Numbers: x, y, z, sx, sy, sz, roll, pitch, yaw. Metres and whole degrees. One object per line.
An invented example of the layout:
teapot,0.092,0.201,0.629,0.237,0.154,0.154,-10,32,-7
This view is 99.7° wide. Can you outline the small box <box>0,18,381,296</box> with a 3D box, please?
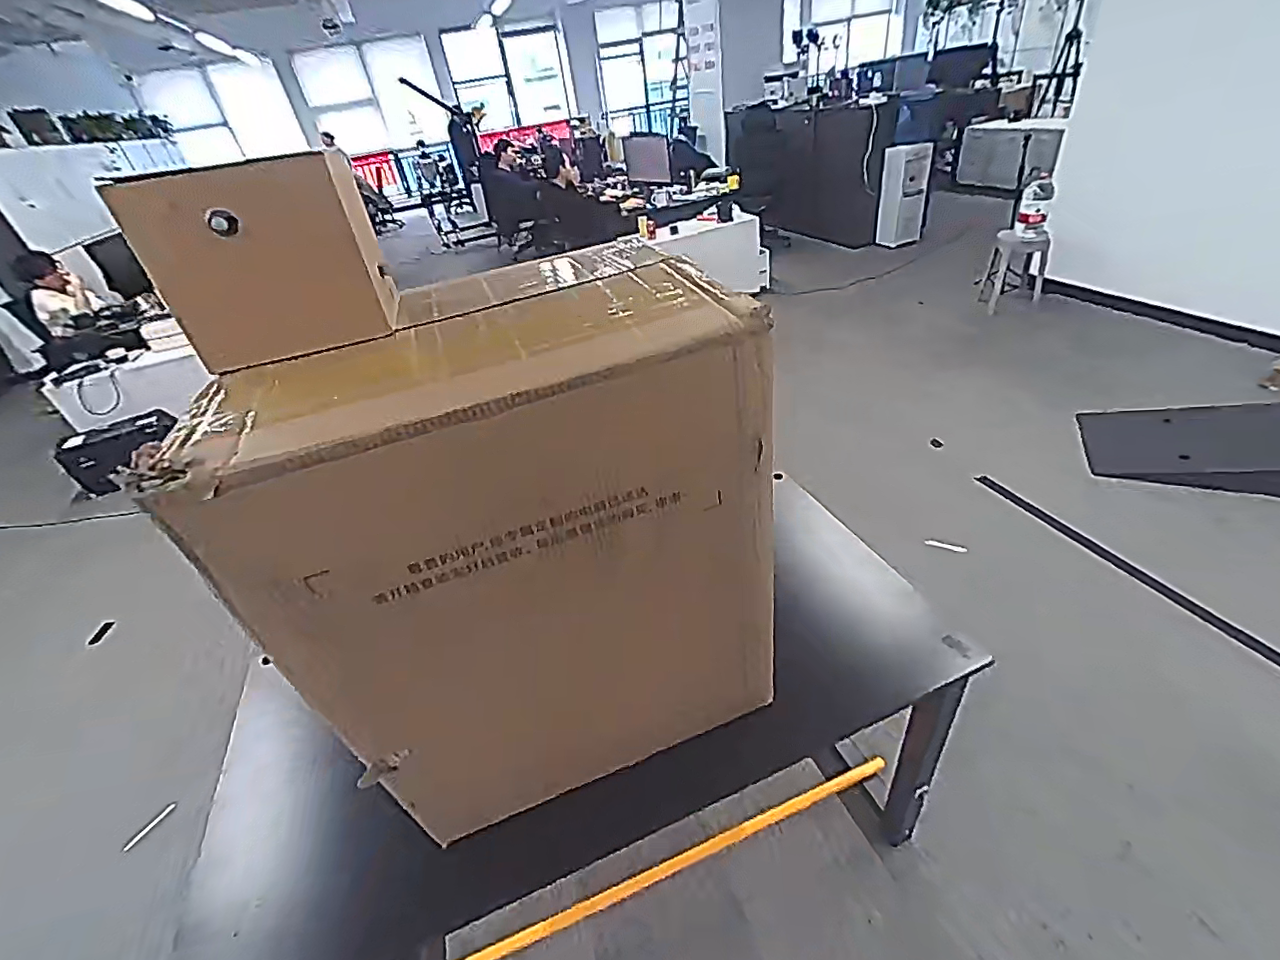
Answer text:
small box,-0.355,-0.273,0.476,0.179,0.176,0.168,-17,35,-12
